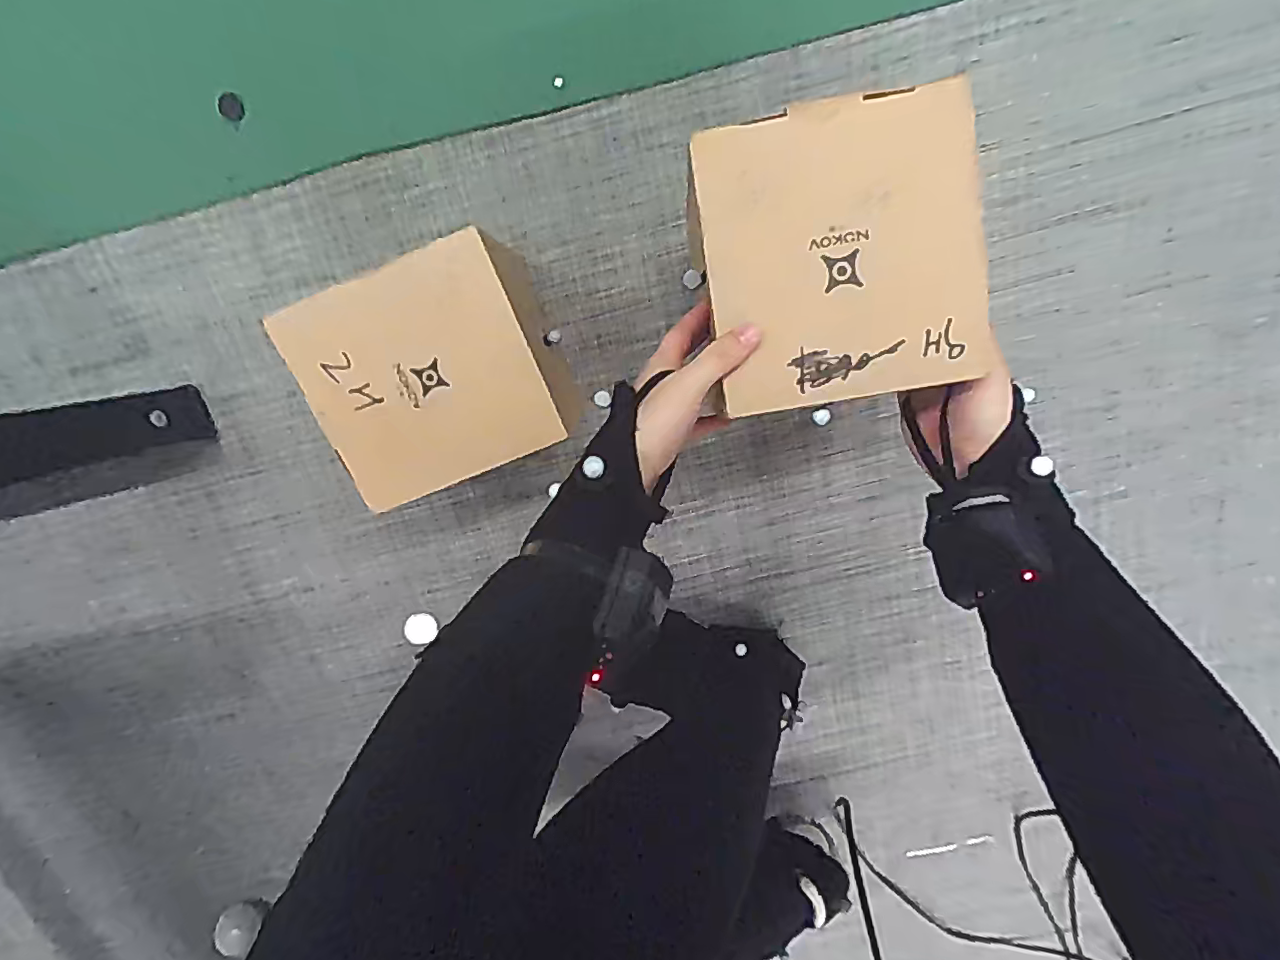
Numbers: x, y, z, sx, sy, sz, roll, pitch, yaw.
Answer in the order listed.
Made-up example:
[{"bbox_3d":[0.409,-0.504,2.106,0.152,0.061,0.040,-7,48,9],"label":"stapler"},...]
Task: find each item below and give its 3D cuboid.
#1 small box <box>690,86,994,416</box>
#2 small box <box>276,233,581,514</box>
[{"bbox_3d":[0.131,-0.146,0.413,0.168,0.176,0.179,-9,96,5],"label":"small box"},{"bbox_3d":[-0.160,-0.096,0.484,0.179,0.176,0.168,-21,105,5],"label":"small box"}]
